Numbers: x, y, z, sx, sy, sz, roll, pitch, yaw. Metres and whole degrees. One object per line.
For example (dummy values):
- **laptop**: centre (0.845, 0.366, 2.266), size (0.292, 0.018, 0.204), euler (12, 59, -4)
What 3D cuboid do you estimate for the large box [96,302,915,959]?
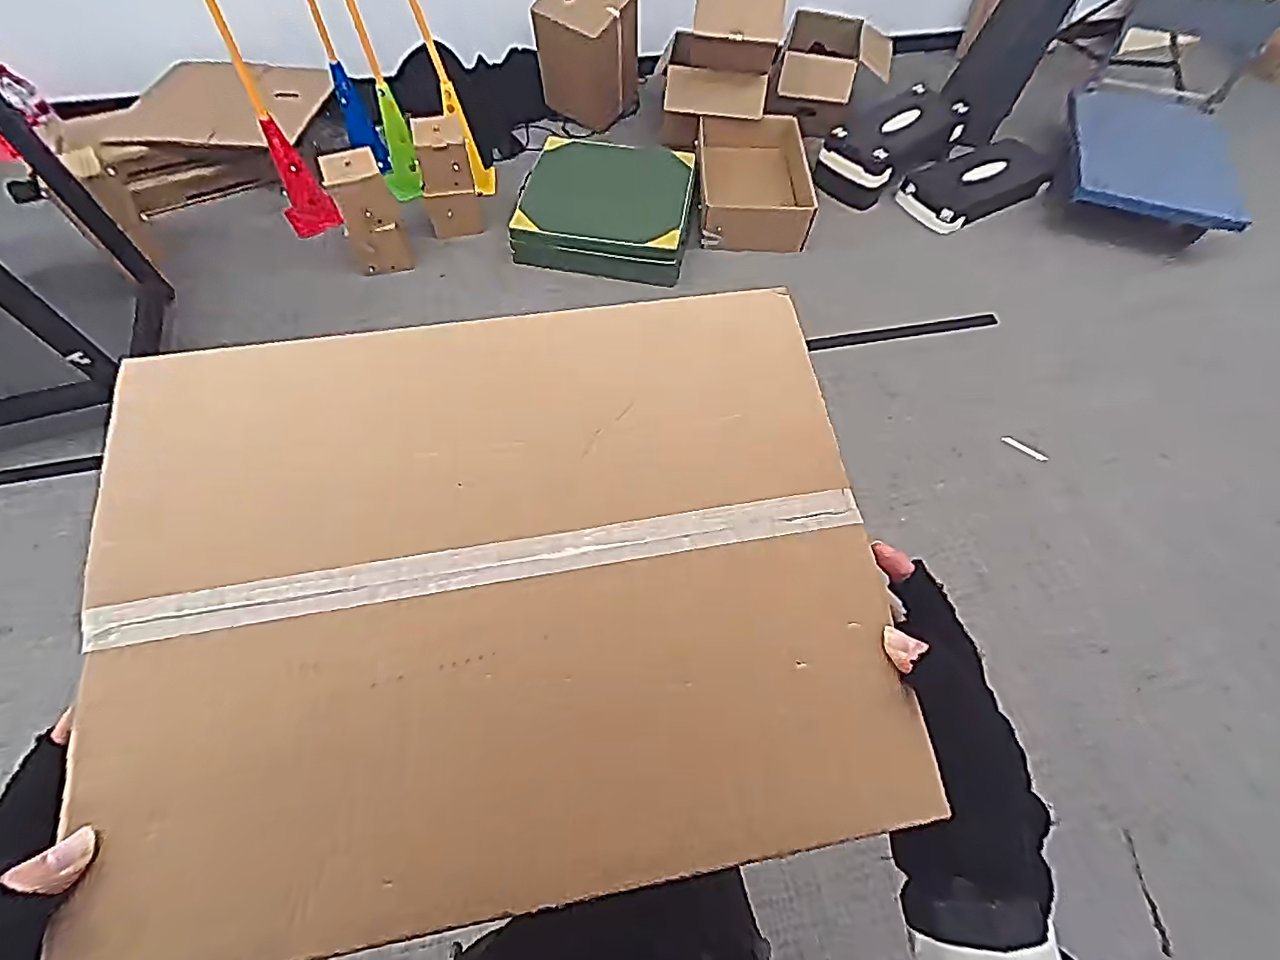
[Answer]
- **large box**: centre (-0.084, 0.097, 0.448), size (0.408, 0.320, 0.320), euler (-8, 72, -6)
